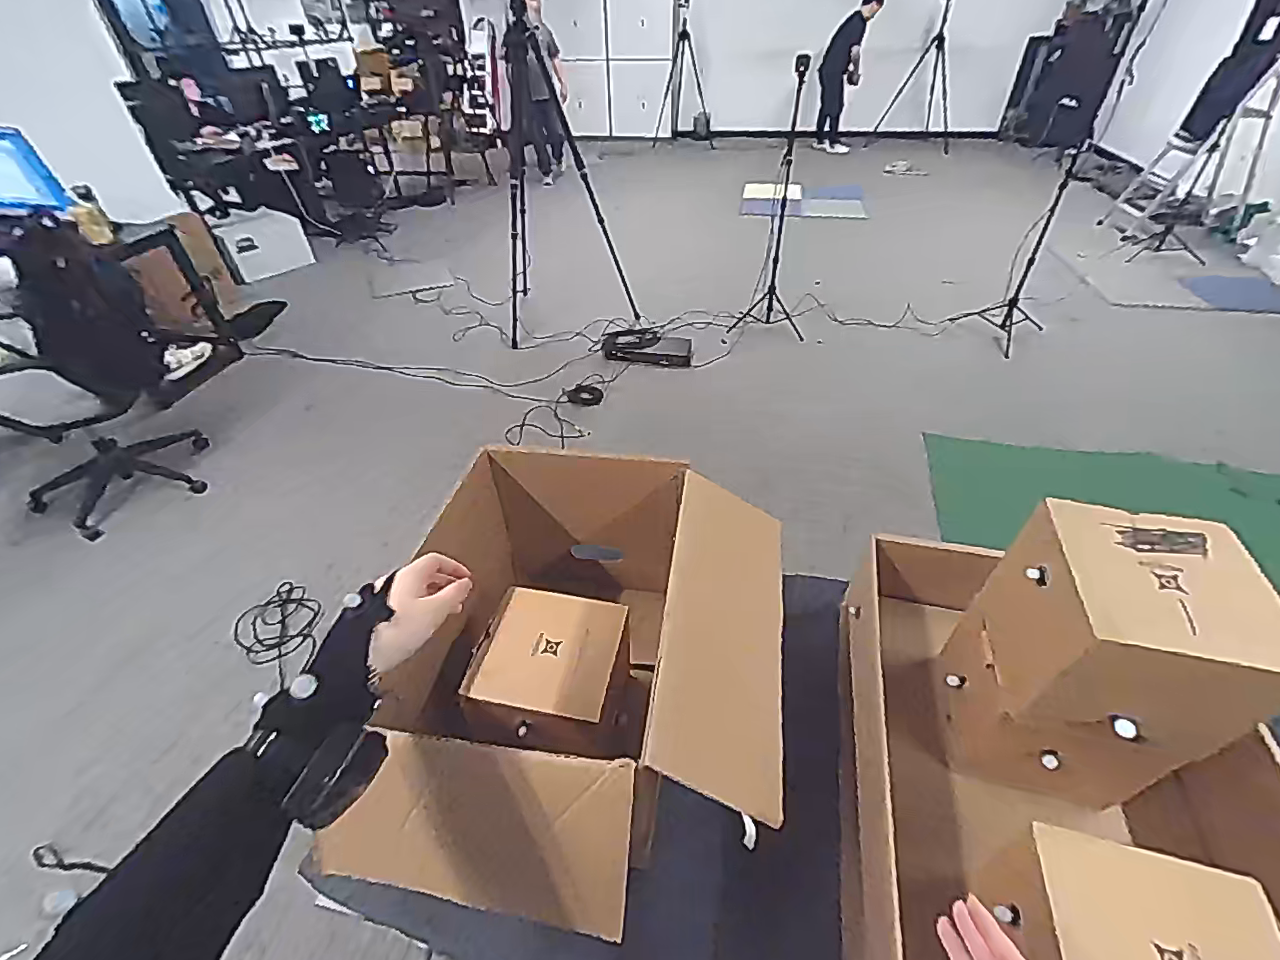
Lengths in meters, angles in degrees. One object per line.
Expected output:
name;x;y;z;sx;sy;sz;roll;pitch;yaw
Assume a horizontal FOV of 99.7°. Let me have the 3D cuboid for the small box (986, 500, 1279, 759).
small box;0.485;0.150;0.554;0.168;0.176;0.179;9;44;13
